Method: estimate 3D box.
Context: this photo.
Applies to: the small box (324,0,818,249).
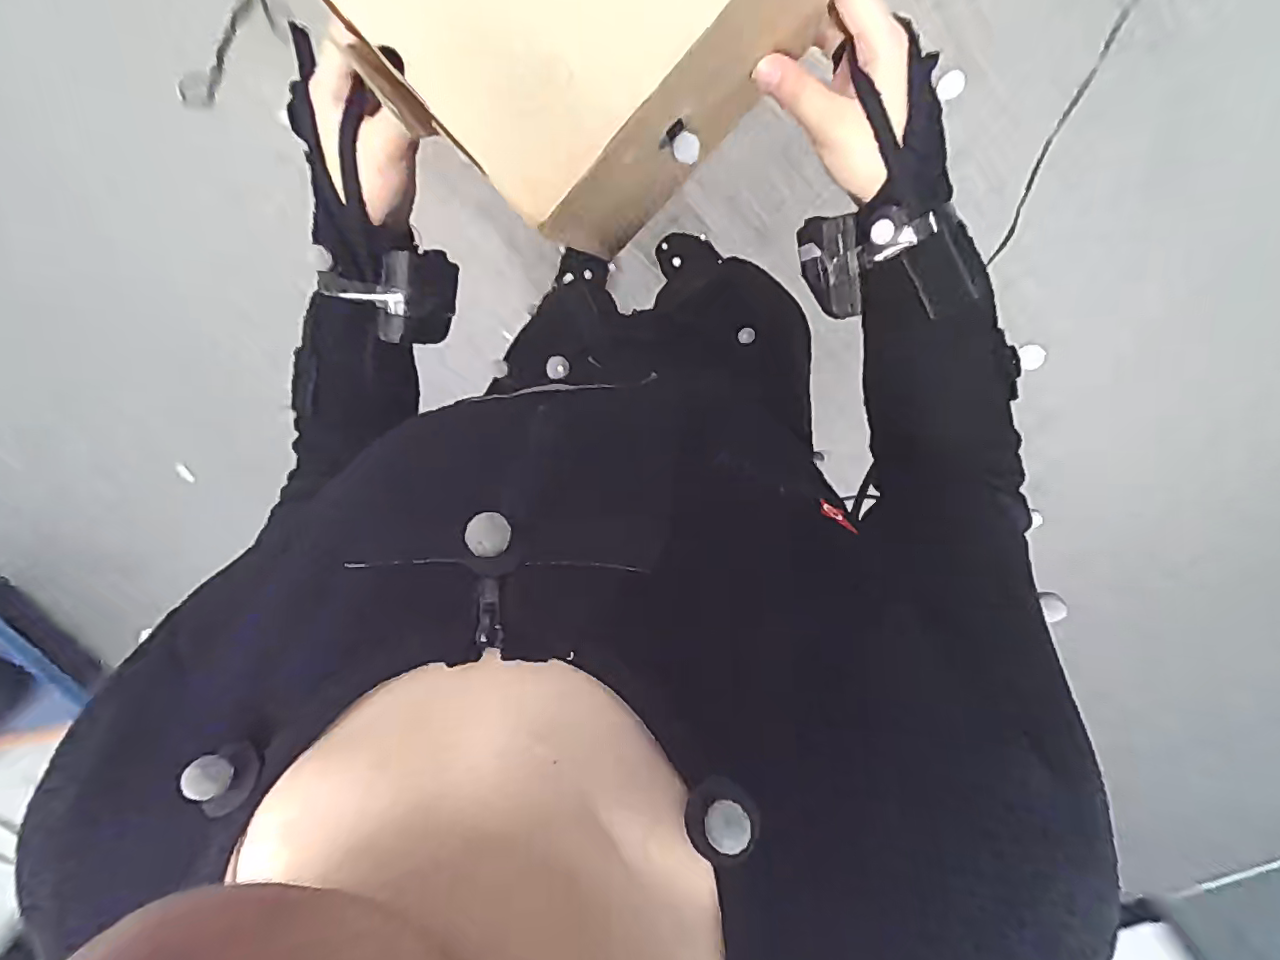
[{"bbox_3d":[-0.023,-0.239,0.267,0.179,0.176,0.168,-40,99,19],"label":"small box"}]
